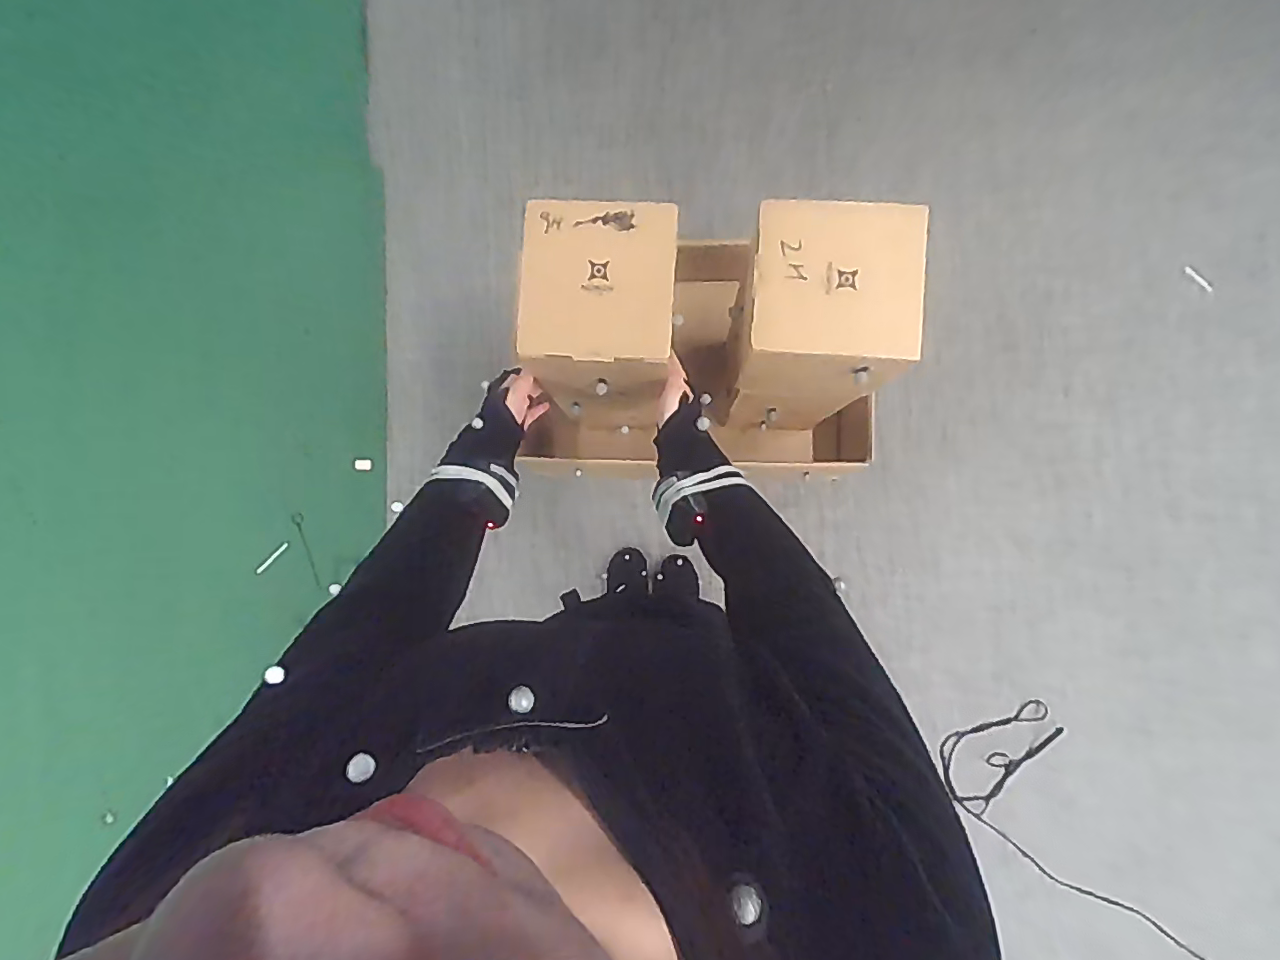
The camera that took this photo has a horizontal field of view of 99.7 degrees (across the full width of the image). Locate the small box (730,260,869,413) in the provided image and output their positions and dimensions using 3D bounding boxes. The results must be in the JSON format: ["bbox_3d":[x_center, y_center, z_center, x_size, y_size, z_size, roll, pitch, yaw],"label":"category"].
[{"bbox_3d":[0.225,-0.203,0.803,0.168,0.176,0.179,4,88,5],"label":"small box"}]

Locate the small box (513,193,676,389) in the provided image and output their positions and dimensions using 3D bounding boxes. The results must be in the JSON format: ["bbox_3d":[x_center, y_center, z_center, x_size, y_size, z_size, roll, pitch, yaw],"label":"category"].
[{"bbox_3d":[-0.043,-0.213,0.653,0.168,0.176,0.179,4,87,3],"label":"small box"}]
